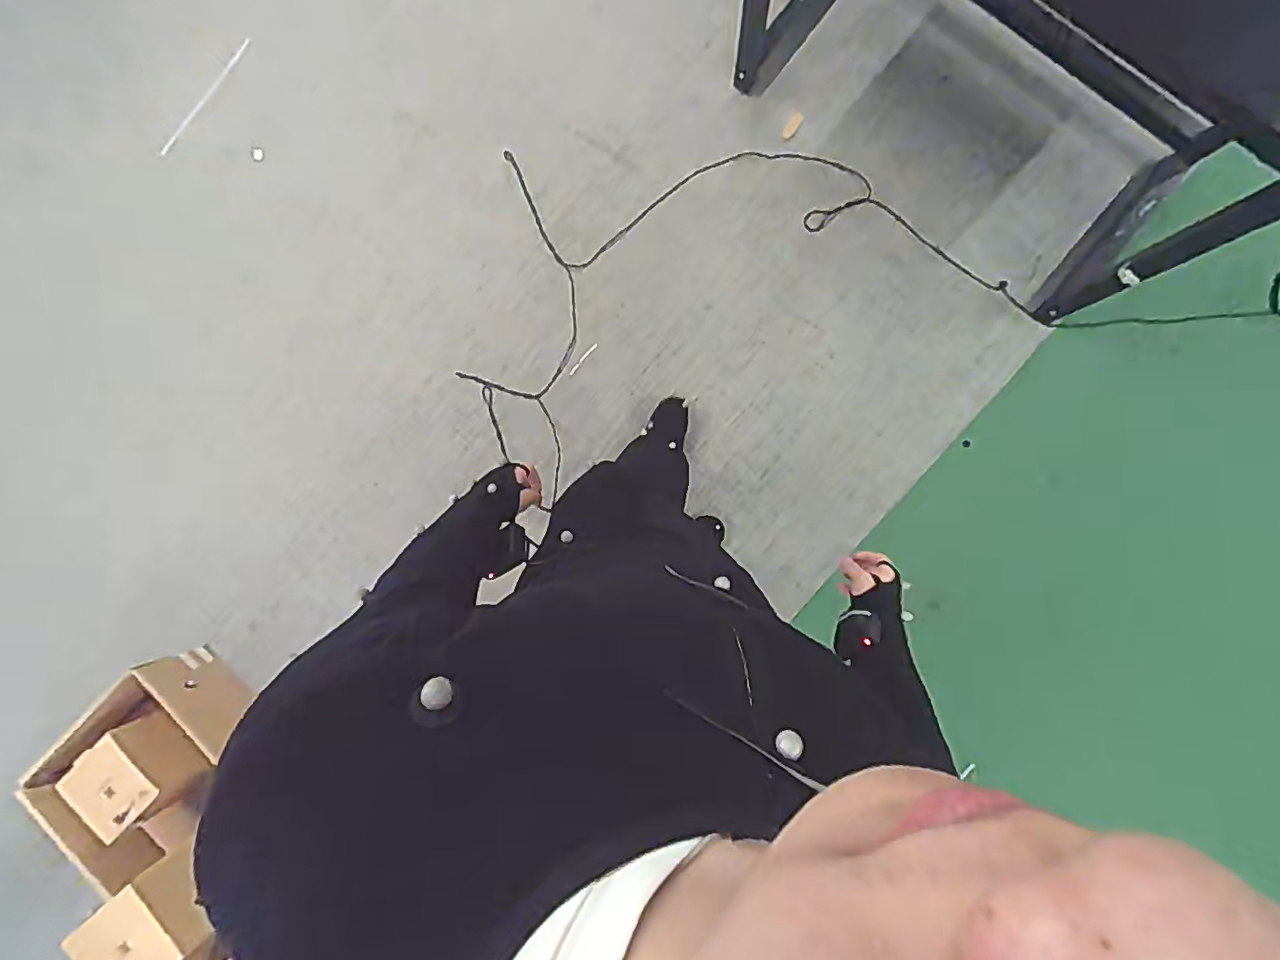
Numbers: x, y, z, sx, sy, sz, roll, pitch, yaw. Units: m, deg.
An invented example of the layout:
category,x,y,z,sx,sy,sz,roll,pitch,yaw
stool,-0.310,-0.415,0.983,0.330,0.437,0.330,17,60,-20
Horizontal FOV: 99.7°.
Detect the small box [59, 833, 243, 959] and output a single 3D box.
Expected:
category,x,y,z,sx,sy,sz,roll,pitch,yaw
small box,-0.909,0.830,1.030,0.179,0.176,0.168,-41,87,3
